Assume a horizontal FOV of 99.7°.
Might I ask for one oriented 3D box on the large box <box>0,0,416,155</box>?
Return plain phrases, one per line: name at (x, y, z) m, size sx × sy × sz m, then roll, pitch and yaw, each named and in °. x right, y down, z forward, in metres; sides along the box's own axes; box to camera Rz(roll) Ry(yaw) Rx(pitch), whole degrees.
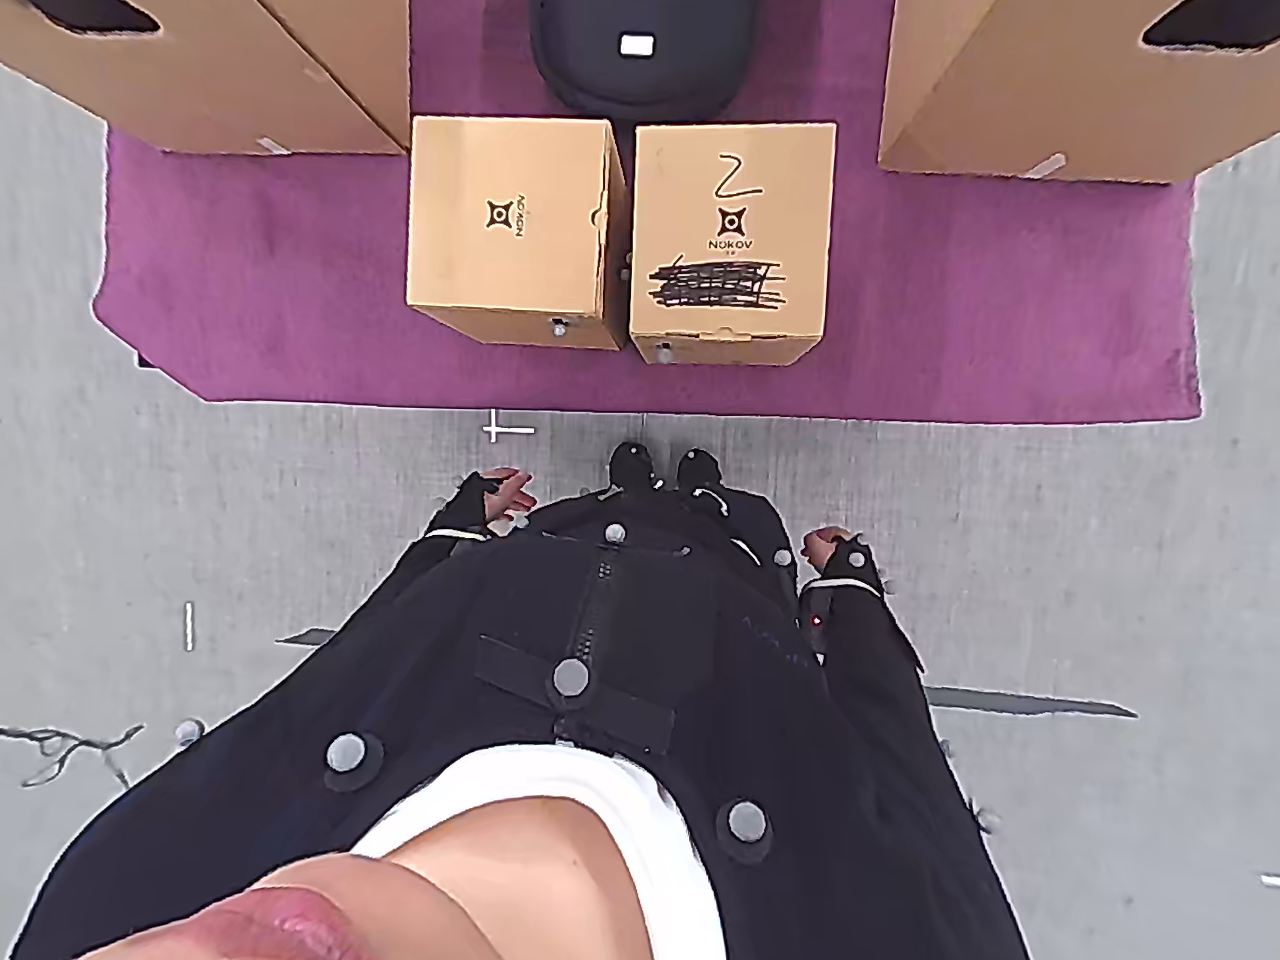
large box at (-0.421, -0.572, 0.481) m, size 0.320 × 0.320 × 0.408 m, roll 1°, pitch 97°, yaw 3°
